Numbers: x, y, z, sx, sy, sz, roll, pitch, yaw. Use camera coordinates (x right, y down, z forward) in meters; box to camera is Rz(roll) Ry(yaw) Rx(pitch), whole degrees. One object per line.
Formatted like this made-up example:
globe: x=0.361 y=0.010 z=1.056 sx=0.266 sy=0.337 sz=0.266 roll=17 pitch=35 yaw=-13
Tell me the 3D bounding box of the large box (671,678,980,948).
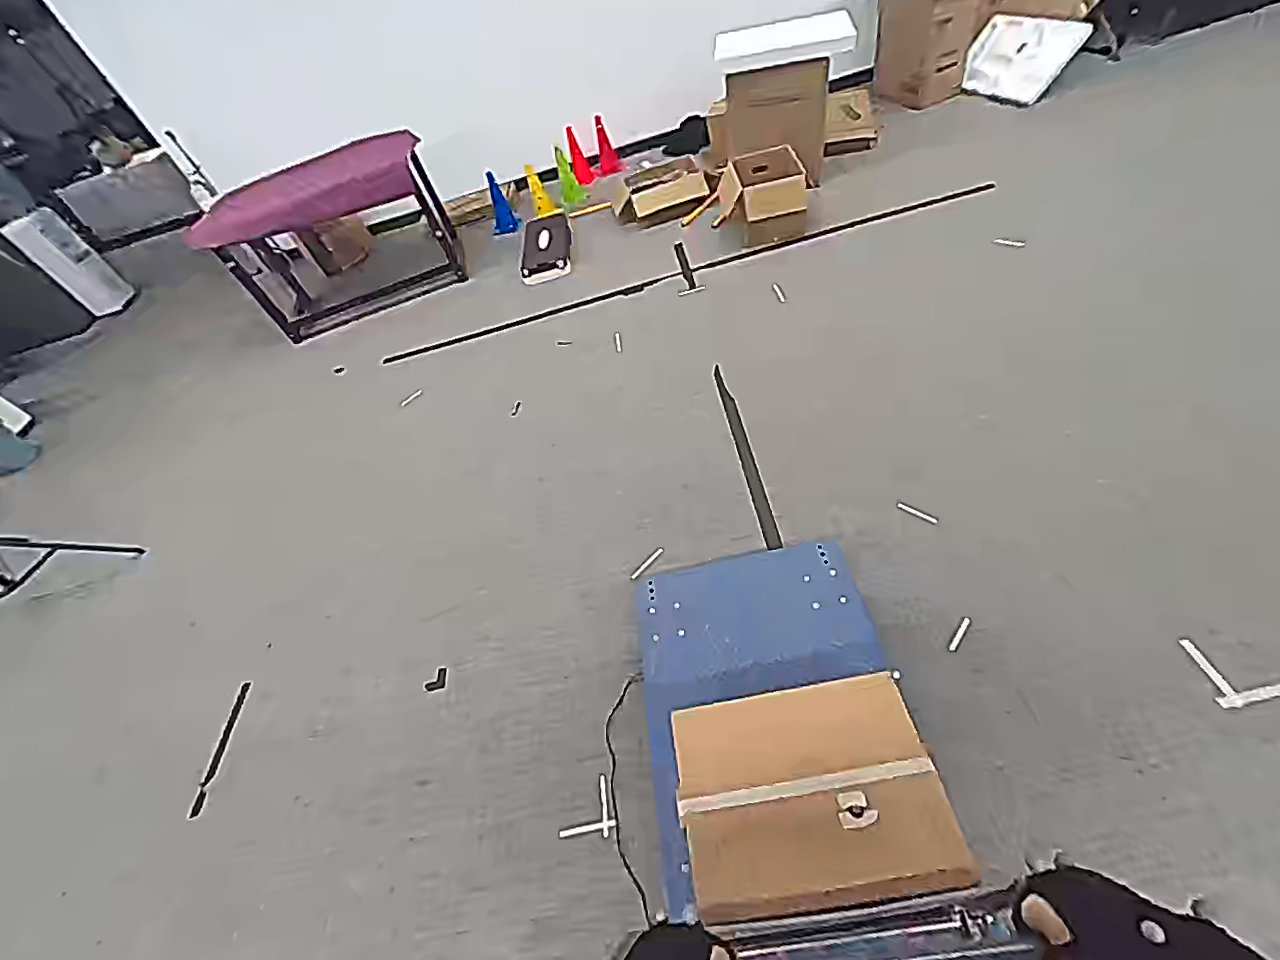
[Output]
large box: x=0.295 y=0.602 z=0.970 sx=0.408 sy=0.320 sz=0.320 roll=-13 pitch=47 yaw=5
